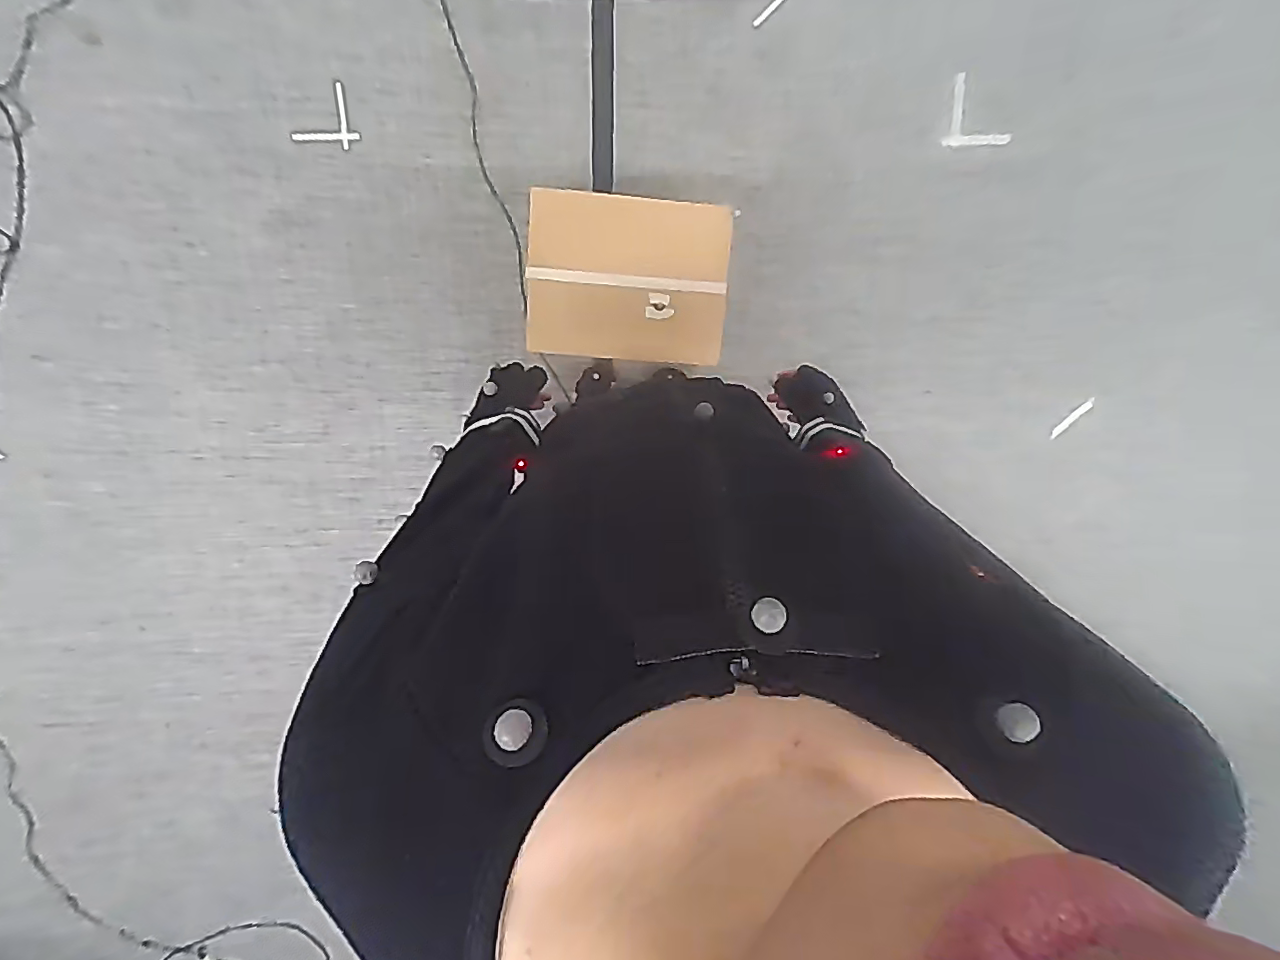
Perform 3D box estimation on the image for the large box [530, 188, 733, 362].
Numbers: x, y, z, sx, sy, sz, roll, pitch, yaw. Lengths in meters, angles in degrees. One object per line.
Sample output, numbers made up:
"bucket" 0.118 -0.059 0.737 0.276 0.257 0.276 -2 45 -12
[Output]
"large box" -0.033 -0.439 1.236 0.408 0.320 0.320 3 103 -5
